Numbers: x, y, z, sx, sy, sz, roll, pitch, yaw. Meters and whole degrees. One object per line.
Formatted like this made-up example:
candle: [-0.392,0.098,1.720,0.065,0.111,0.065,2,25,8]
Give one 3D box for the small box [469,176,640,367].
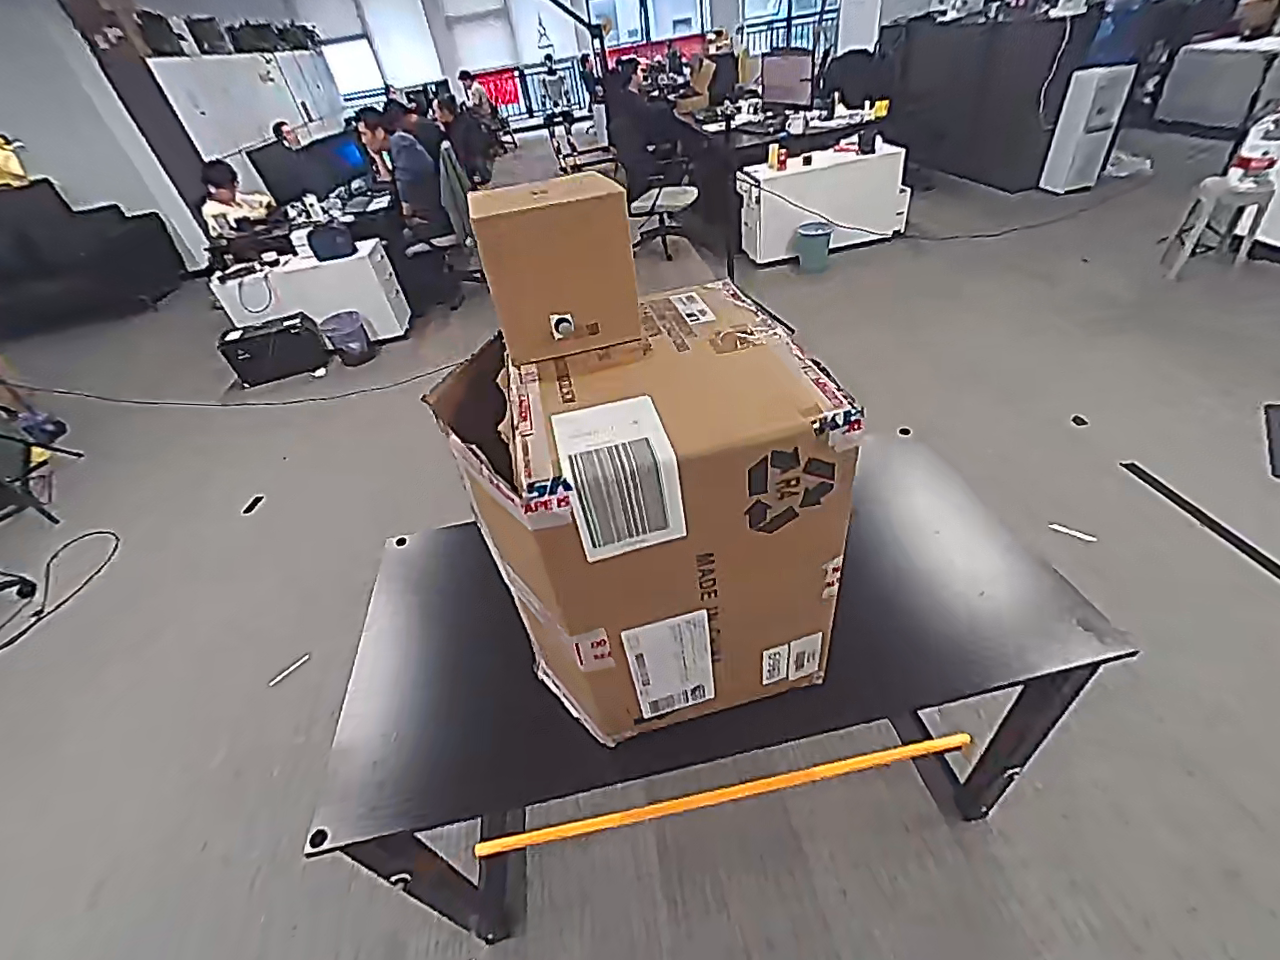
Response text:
small box: [-0.107,-0.262,0.674,0.168,0.176,0.179,-16,39,-8]
